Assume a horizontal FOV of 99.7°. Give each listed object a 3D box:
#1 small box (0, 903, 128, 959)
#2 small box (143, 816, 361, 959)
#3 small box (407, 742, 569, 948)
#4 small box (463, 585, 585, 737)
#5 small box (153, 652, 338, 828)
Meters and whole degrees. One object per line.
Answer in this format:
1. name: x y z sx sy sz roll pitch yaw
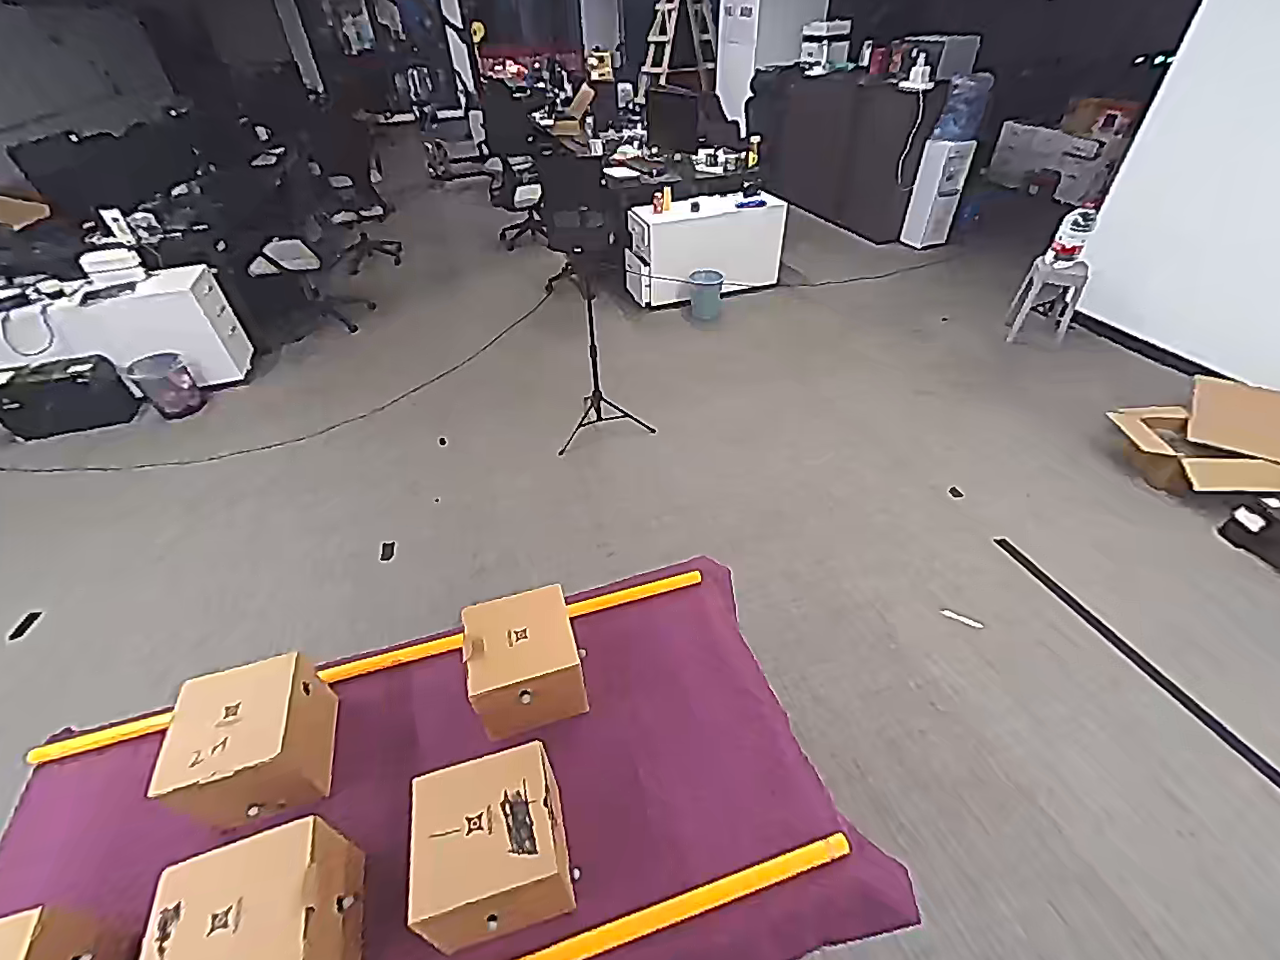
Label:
1. small box: -0.749 0.625 0.612 0.179 0.176 0.168 -12 42 -14
2. small box: -0.467 0.562 0.674 0.179 0.176 0.168 -14 42 -14
3. small box: -0.197 0.495 0.736 0.179 0.176 0.168 -12 40 -10
4. small box: -0.197 0.316 0.943 0.179 0.176 0.168 -14 43 -11
5. small box: -0.600 0.409 0.855 0.168 0.176 0.179 -13 44 -12
